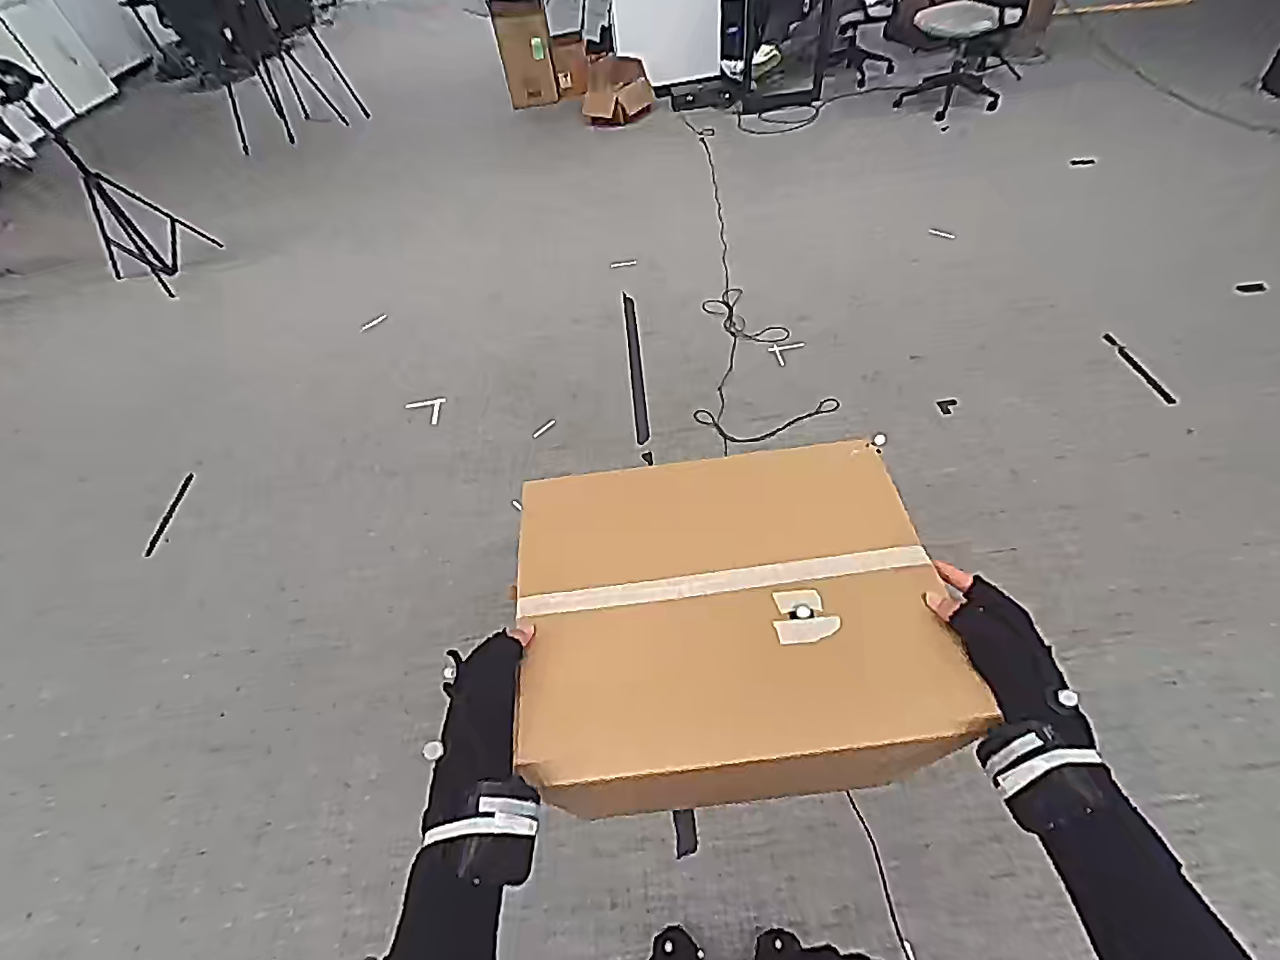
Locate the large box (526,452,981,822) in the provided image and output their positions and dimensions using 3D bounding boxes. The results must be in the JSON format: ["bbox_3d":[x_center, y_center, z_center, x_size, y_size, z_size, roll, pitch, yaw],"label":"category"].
[{"bbox_3d":[0.091,0.202,0.666,0.408,0.320,0.320,-7,54,0],"label":"large box"}]
